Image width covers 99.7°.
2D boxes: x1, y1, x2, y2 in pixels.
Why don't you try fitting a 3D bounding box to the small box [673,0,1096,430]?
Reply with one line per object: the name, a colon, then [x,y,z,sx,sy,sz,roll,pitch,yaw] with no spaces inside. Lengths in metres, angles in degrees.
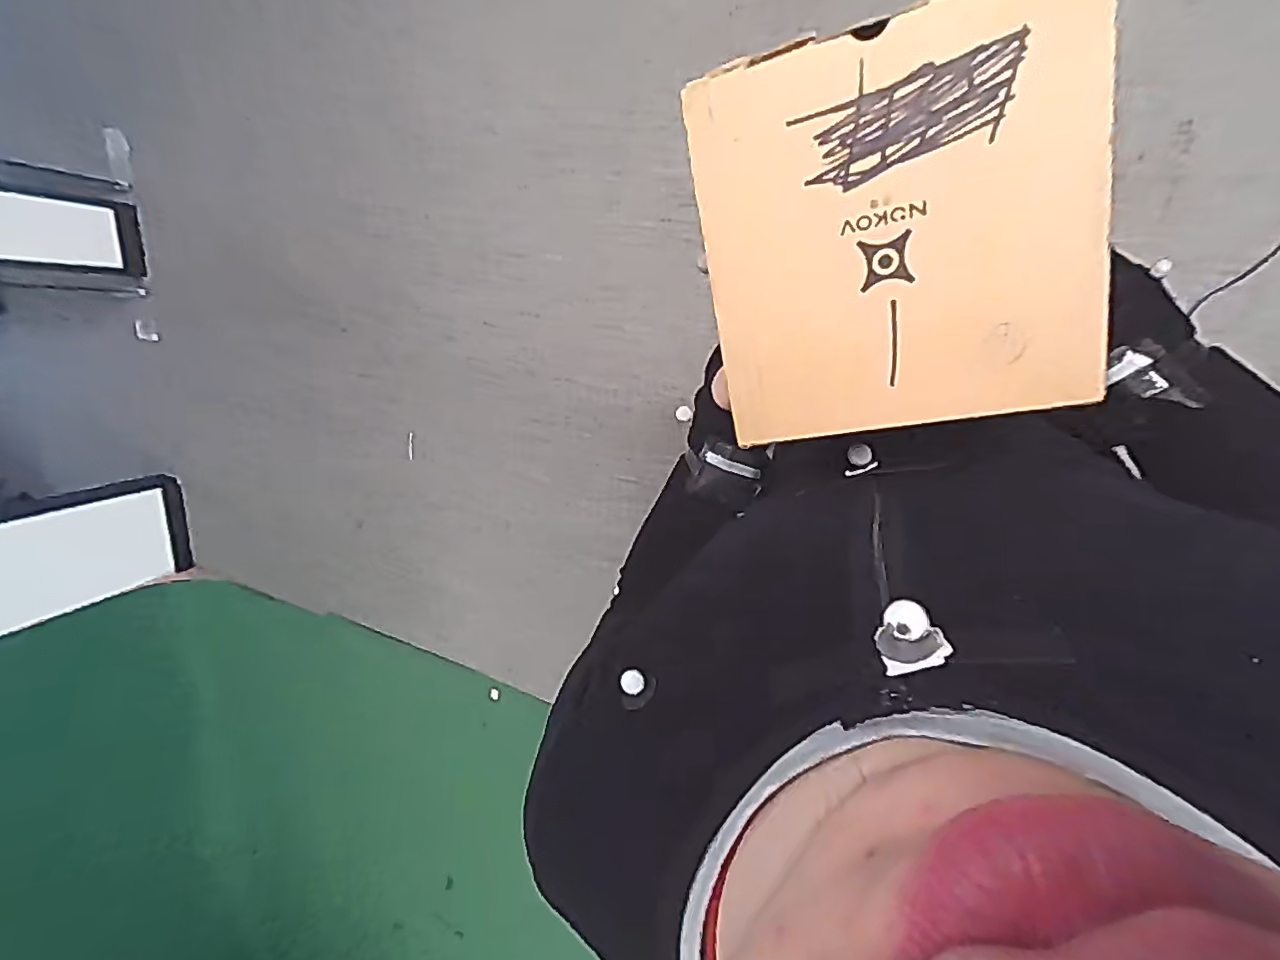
small box: [0.129,-0.141,0.318,0.168,0.176,0.179,-6,108,21]
